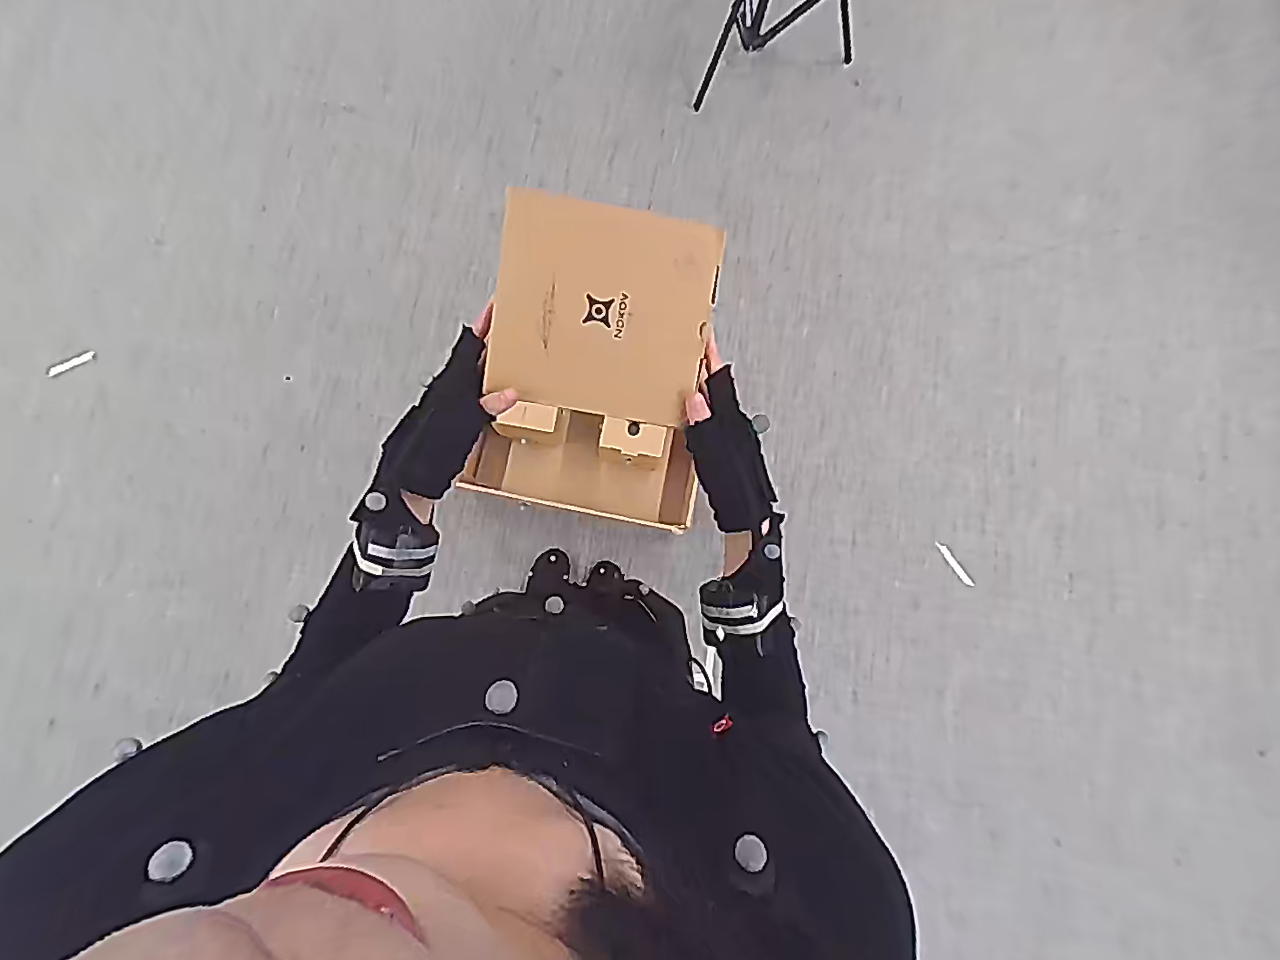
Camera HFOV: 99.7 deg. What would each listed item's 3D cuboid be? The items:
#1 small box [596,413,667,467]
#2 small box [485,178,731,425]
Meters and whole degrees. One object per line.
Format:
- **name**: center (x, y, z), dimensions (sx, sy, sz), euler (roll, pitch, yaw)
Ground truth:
- **small box**: center (-0.015, -0.143, 1.470), dimensions (0.168, 0.176, 0.179), euler (13, 81, 1)
- **small box**: center (-0.030, -0.148, 0.505), dimensions (0.179, 0.176, 0.168), euler (8, 96, -4)
